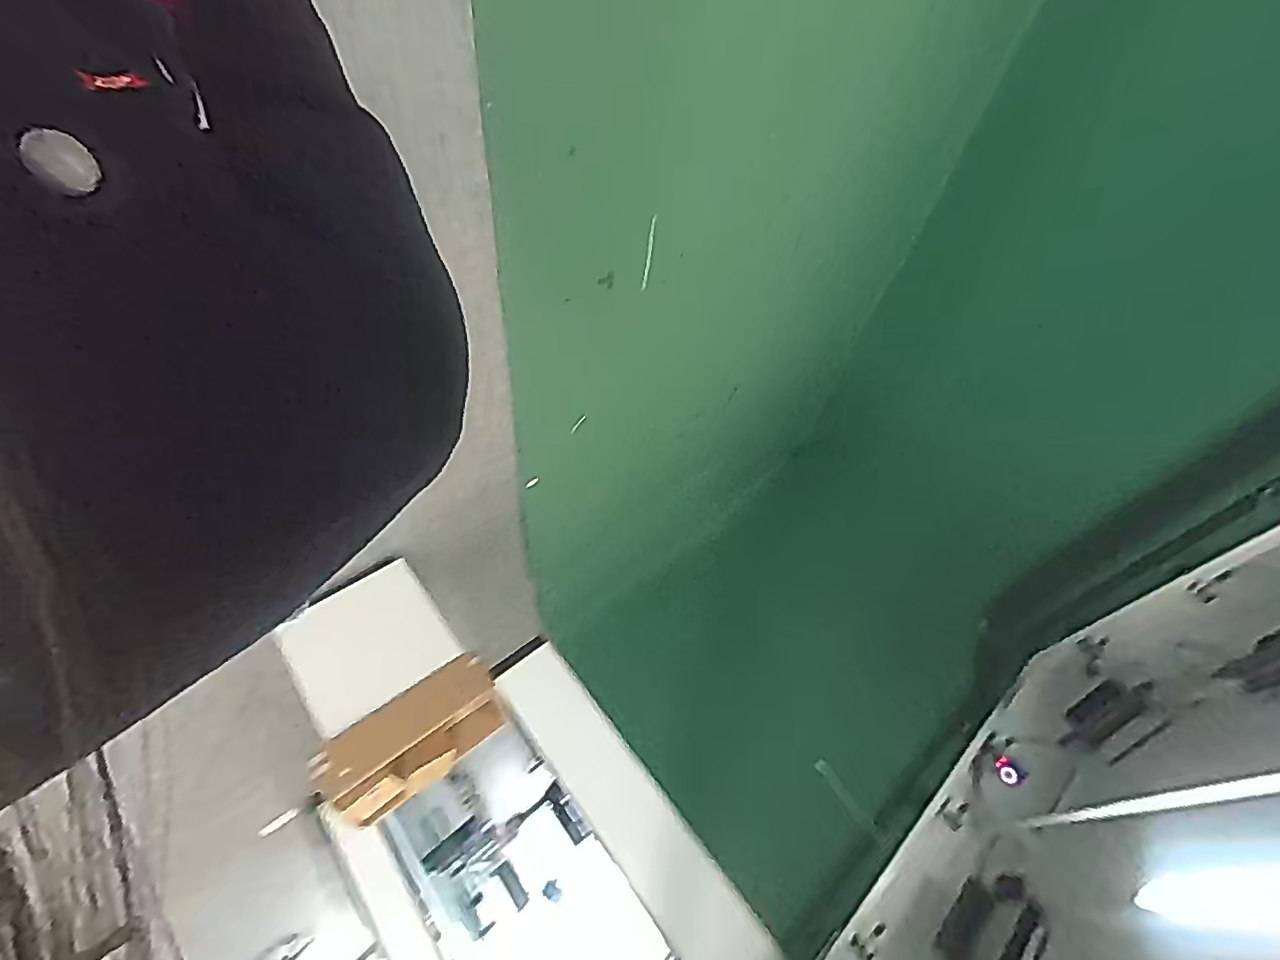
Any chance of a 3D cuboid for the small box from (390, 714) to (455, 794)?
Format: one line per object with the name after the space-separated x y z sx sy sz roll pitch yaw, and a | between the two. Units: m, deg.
-0.822 1.021 2.027 0.168 0.176 0.179 -17 137 -45 | small box
